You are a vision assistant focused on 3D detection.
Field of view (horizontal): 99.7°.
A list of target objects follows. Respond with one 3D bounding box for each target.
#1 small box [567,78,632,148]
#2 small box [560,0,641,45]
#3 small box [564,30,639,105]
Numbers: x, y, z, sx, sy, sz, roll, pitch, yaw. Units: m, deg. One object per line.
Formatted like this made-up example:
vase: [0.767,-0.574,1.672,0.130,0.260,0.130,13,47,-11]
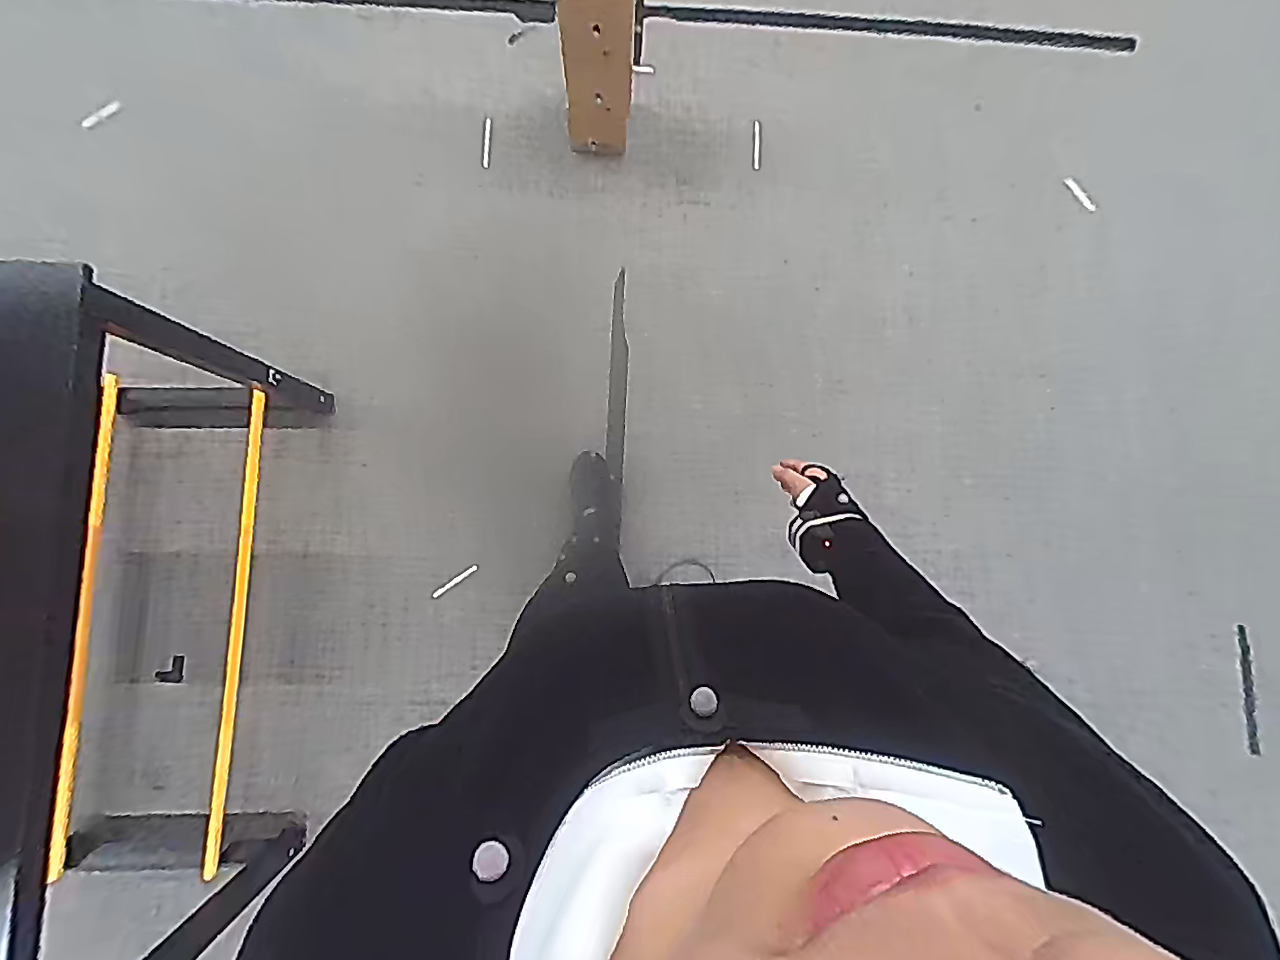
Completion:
small box: [-0.103,-1.028,1.439,0.168,0.176,0.179,1,86,-2]
small box: [-0.079,-1.046,1.112,0.168,0.176,0.179,2,85,-2]
small box: [-0.087,-1.034,1.275,0.168,0.176,0.179,2,85,-2]
